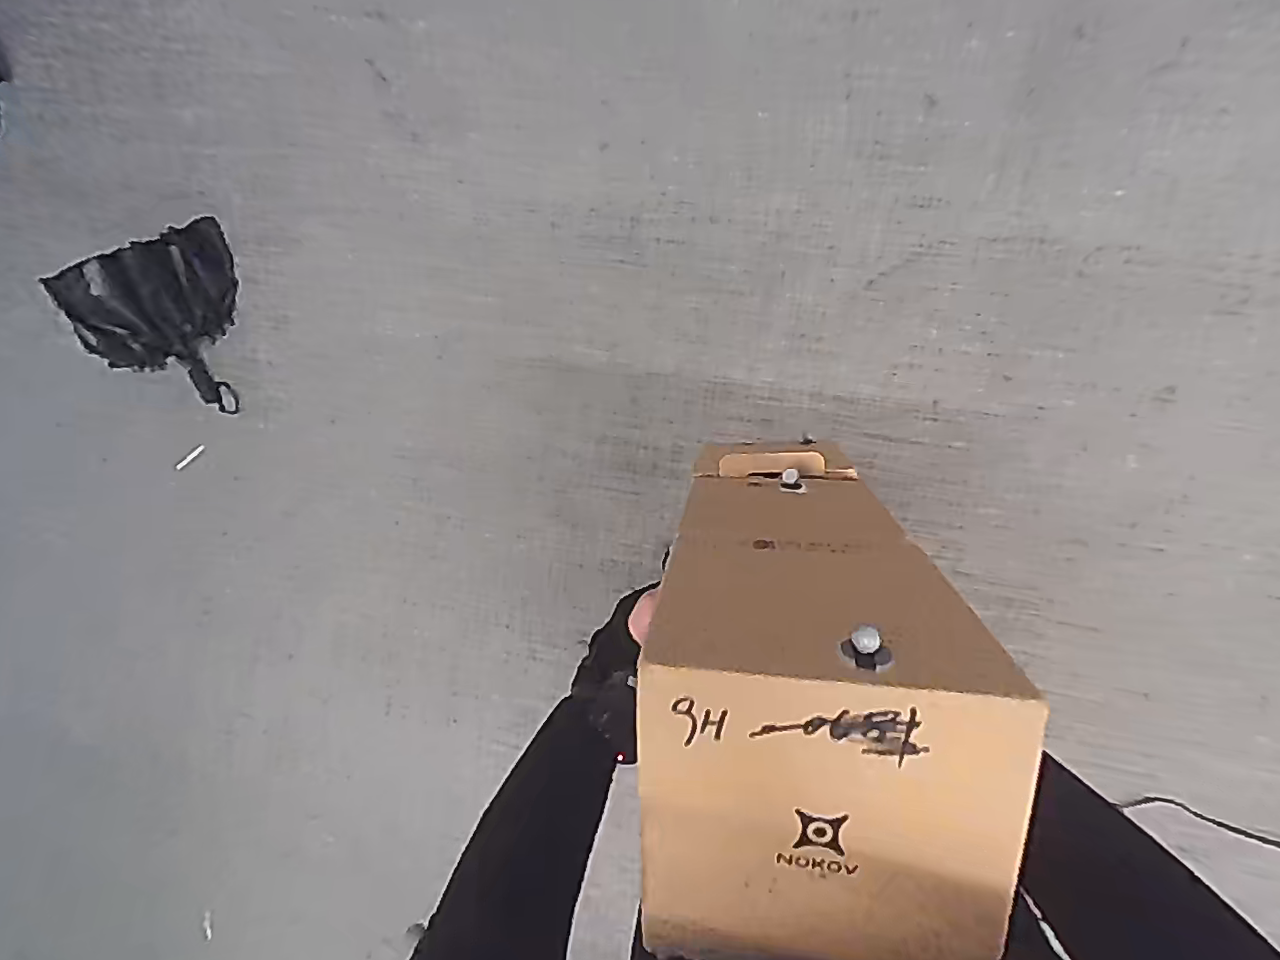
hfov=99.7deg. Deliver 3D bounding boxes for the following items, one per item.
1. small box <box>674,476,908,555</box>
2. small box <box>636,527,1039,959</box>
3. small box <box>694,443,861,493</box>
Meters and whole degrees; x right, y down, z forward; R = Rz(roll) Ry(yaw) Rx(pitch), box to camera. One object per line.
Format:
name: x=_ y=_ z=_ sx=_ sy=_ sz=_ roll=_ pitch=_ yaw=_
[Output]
small box: x=0.124 y=0.101 z=0.482 sx=0.168 sy=0.176 sz=0.179 roll=0 pitch=104 yaw=11
small box: x=0.095 y=0.144 z=0.327 sx=0.168 sy=0.176 sz=0.179 roll=2 pitch=107 yaw=11
small box: x=0.155 y=0.055 z=0.634 sx=0.168 sy=0.176 sz=0.179 roll=-2 pitch=105 yaw=12
